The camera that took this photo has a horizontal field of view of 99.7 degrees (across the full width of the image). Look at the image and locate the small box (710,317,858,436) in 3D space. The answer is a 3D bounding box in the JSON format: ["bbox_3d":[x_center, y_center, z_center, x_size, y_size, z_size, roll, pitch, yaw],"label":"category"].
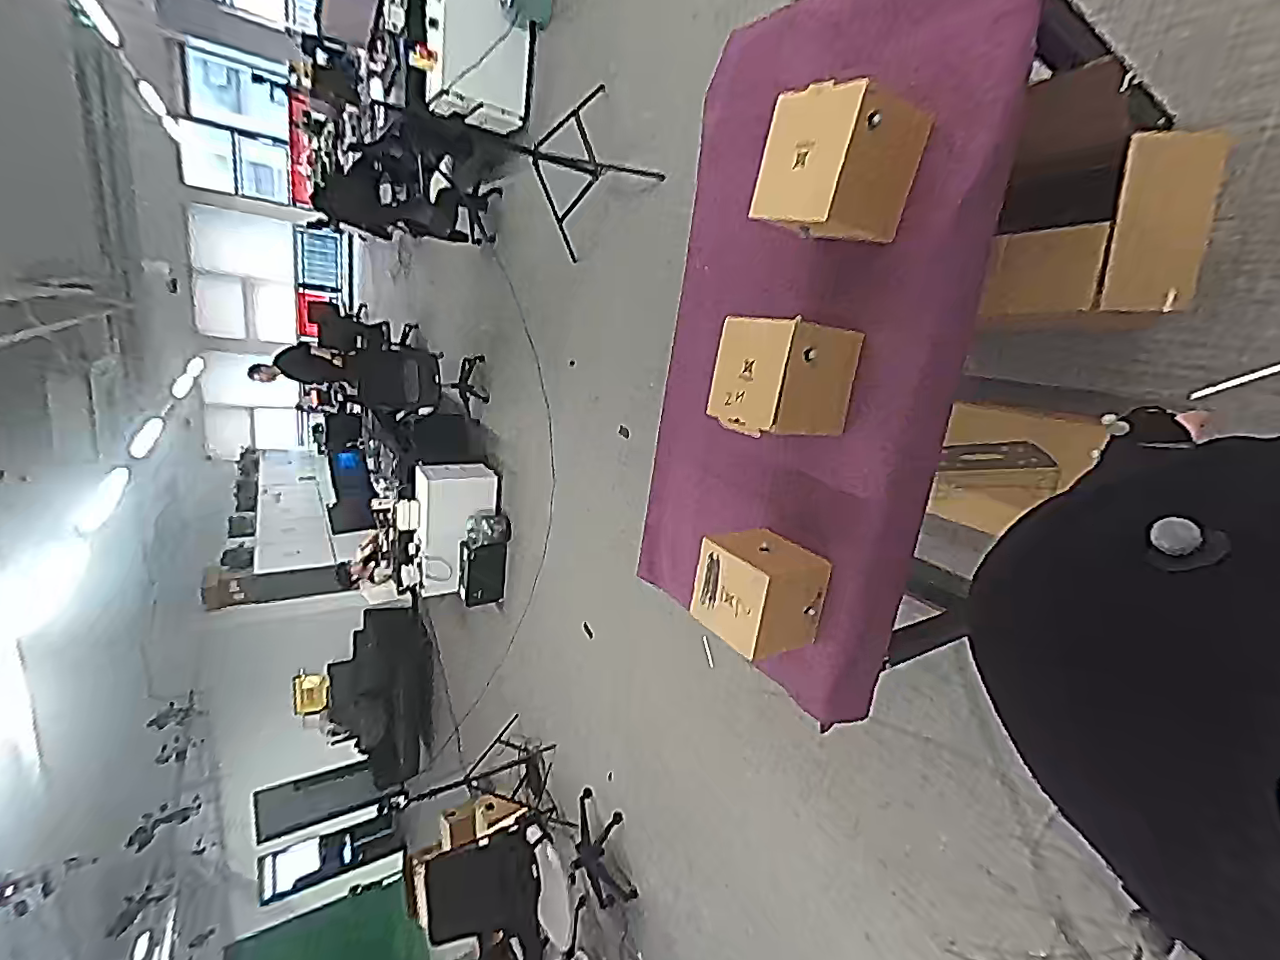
[{"bbox_3d":[0.249,-0.179,0.937,0.168,0.176,0.179,29,116,55],"label":"small box"}]

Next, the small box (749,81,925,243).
[{"bbox_3d":[0.302,-0.477,0.836,0.168,0.176,0.179,37,122,49],"label":"small box"}]
